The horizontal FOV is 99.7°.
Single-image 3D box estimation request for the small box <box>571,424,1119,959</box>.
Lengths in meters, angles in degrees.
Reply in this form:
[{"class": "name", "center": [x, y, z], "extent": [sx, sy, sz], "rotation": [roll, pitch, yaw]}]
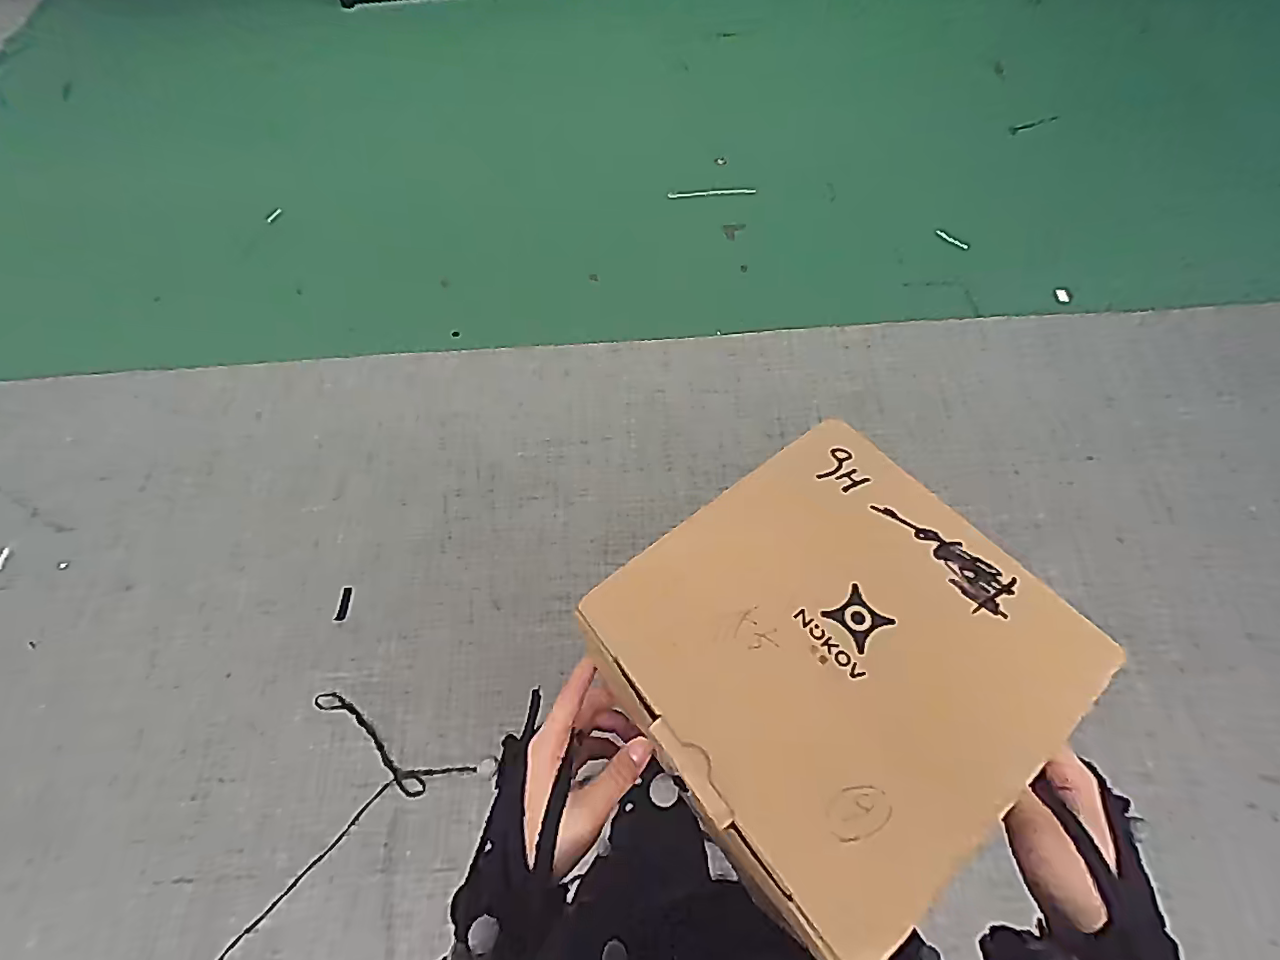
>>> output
[{"class": "small box", "center": [0.087, 0.109, 0.303], "extent": [0.179, 0.176, 0.168], "rotation": [-34, 63, -17]}]
